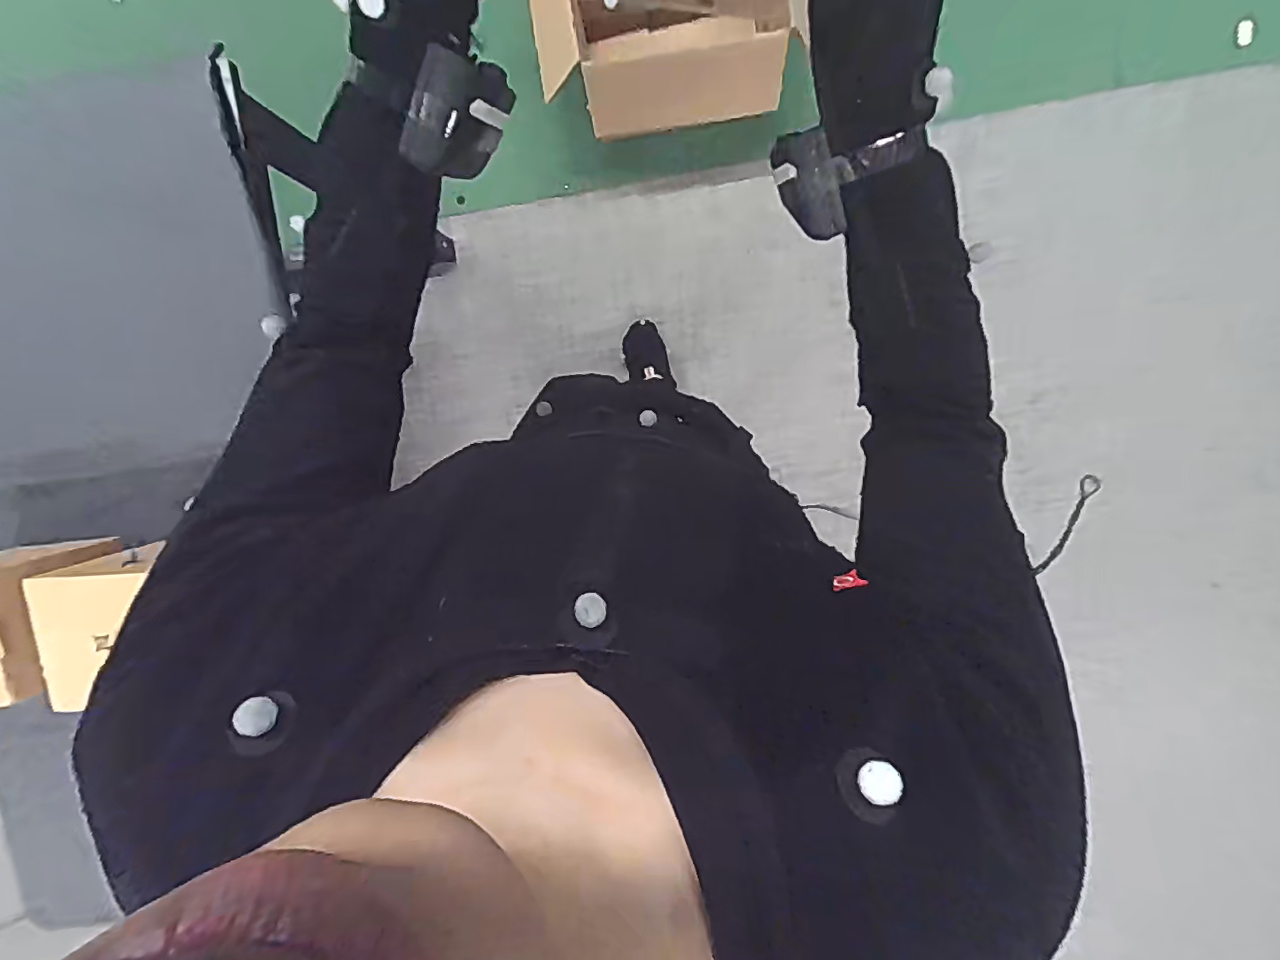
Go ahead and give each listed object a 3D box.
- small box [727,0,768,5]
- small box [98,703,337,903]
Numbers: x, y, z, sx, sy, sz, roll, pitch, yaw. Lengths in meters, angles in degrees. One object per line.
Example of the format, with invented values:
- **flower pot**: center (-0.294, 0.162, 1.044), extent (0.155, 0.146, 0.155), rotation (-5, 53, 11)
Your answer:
- **small box**: center (0.035, -0.432, 0.324), extent (0.168, 0.176, 0.179), rotation (5, 110, -2)
- **small box**: center (-0.553, 0.424, 0.732), extent (0.179, 0.176, 0.168), rotation (-6, 98, 4)
